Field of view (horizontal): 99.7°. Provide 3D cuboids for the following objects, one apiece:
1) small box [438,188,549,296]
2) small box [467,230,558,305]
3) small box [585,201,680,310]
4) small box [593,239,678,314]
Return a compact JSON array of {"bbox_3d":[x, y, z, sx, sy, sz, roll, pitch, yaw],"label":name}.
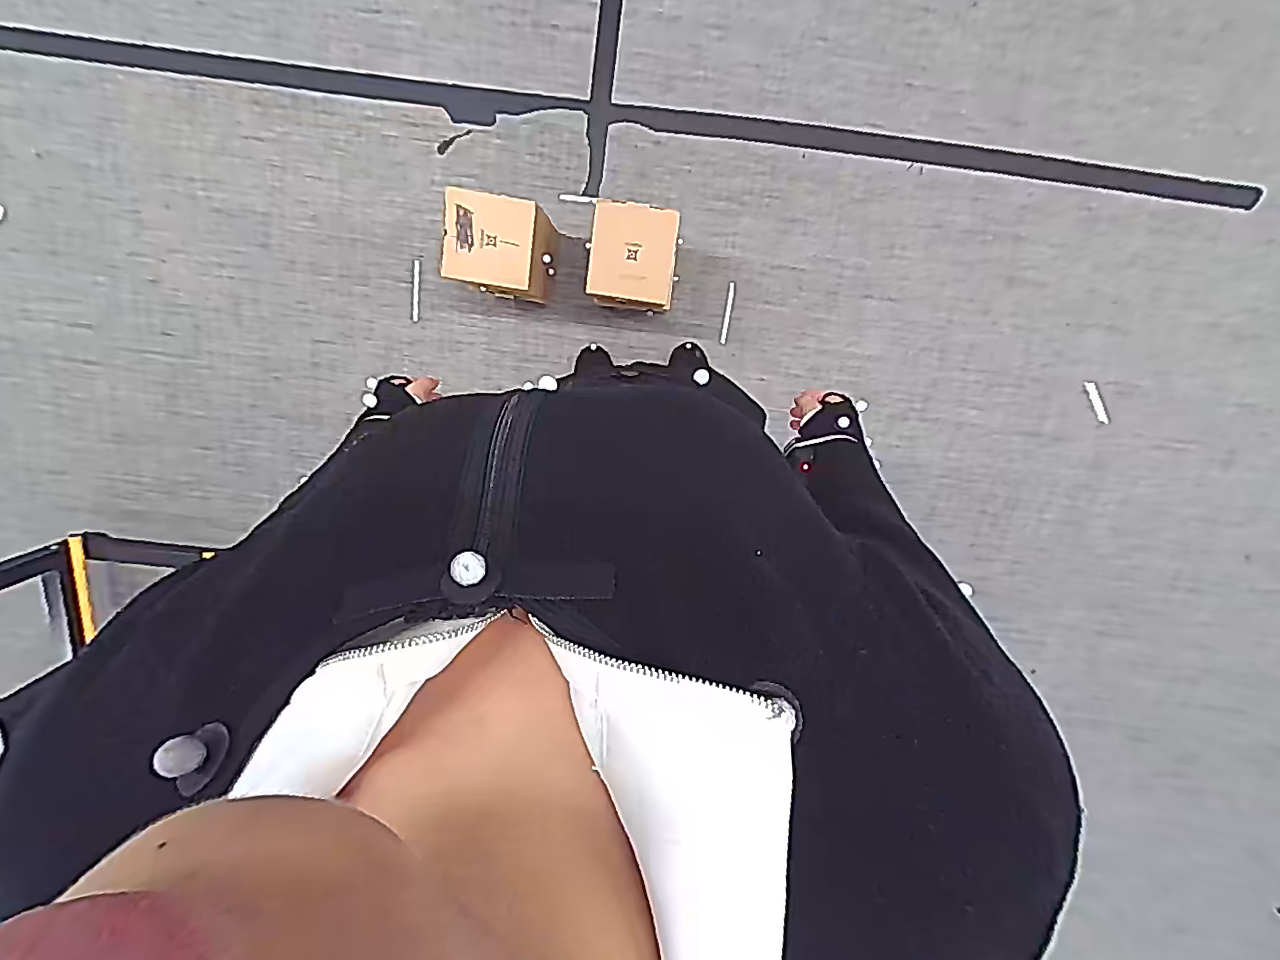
[{"bbox_3d":[-0.296,-0.481,1.118,0.179,0.176,0.168,9,105,-2],"label":"small box"},{"bbox_3d":[-0.297,-0.518,1.279,0.168,0.176,0.179,10,106,-1],"label":"small box"},{"bbox_3d":[-0.016,-0.458,1.125,0.168,0.176,0.179,8,107,-1],"label":"small box"},{"bbox_3d":[-0.012,-0.489,1.285,0.179,0.176,0.168,6,105,-1],"label":"small box"}]
